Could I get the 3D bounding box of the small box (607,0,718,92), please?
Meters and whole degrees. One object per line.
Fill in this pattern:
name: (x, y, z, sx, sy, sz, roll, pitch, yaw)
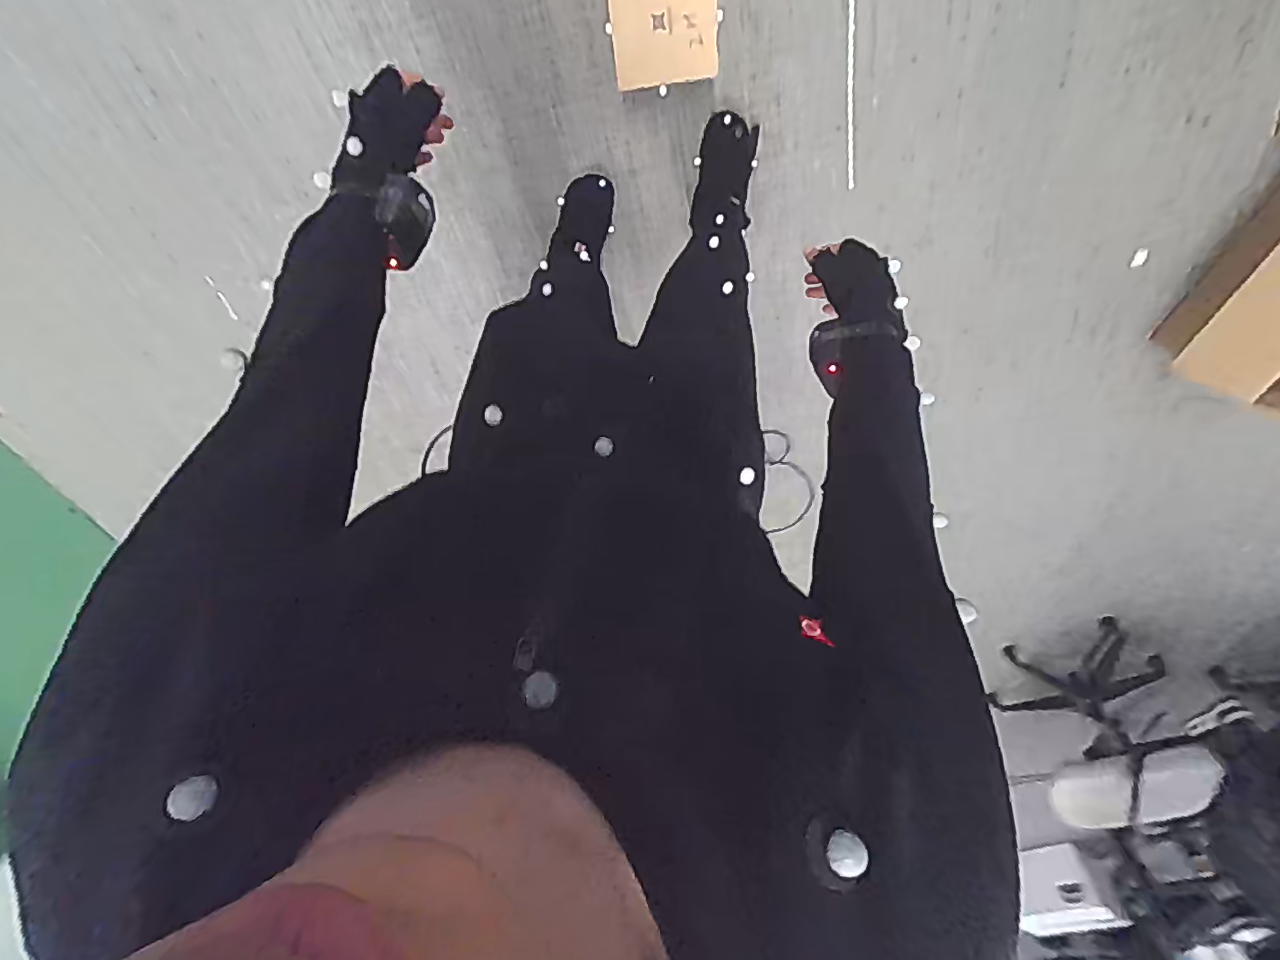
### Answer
small box: (0.042, -0.783, 0.935, 0.179, 0.176, 0.168, -4, 129, 6)
